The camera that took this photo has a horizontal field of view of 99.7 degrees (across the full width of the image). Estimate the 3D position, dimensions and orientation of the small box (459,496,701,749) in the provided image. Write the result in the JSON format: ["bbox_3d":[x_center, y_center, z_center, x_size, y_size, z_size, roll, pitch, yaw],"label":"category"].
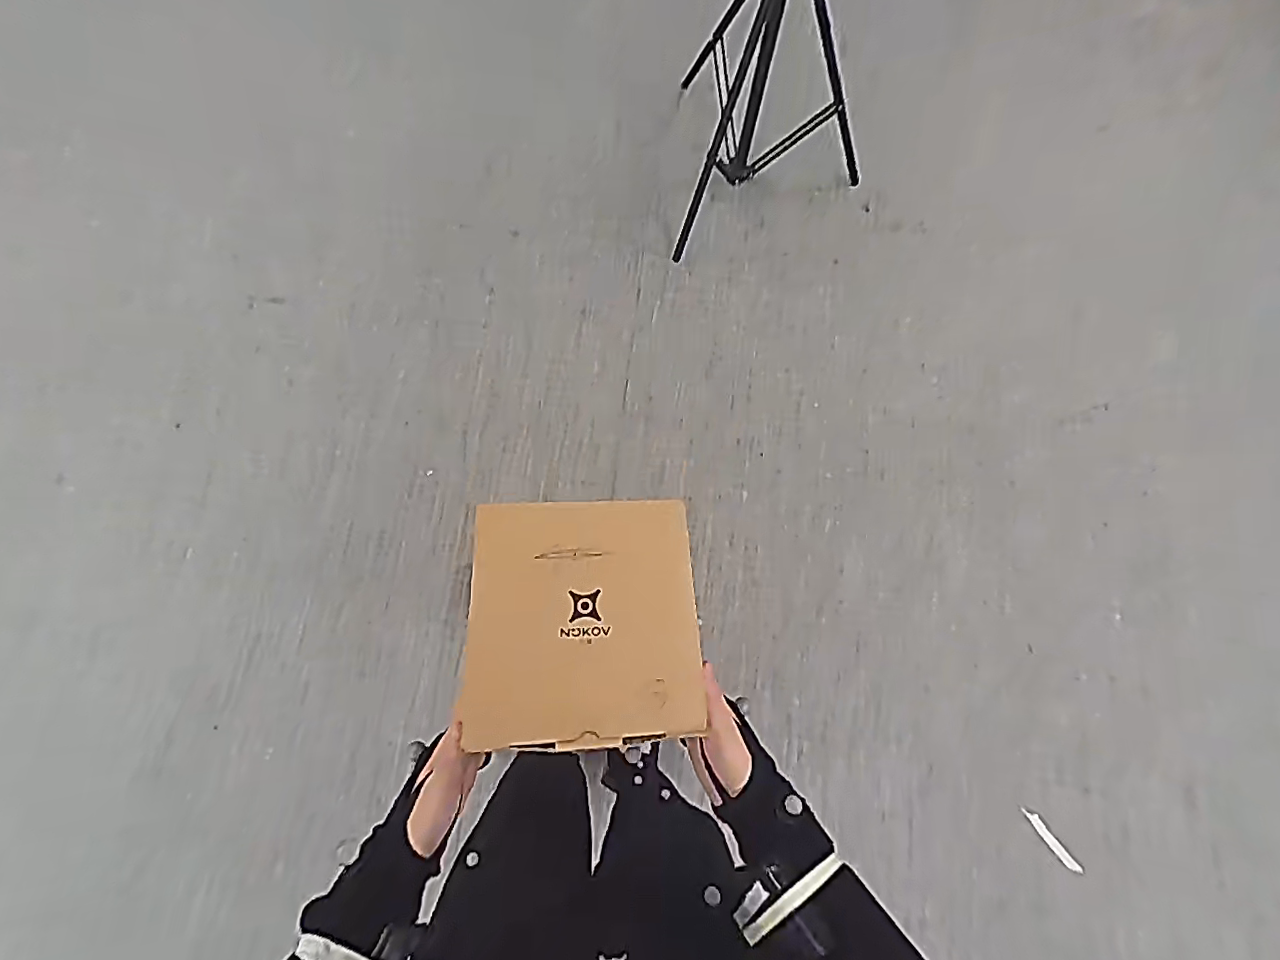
[{"bbox_3d":[-0.052,0.128,0.467,0.168,0.176,0.179,-1,63,-8],"label":"small box"}]
